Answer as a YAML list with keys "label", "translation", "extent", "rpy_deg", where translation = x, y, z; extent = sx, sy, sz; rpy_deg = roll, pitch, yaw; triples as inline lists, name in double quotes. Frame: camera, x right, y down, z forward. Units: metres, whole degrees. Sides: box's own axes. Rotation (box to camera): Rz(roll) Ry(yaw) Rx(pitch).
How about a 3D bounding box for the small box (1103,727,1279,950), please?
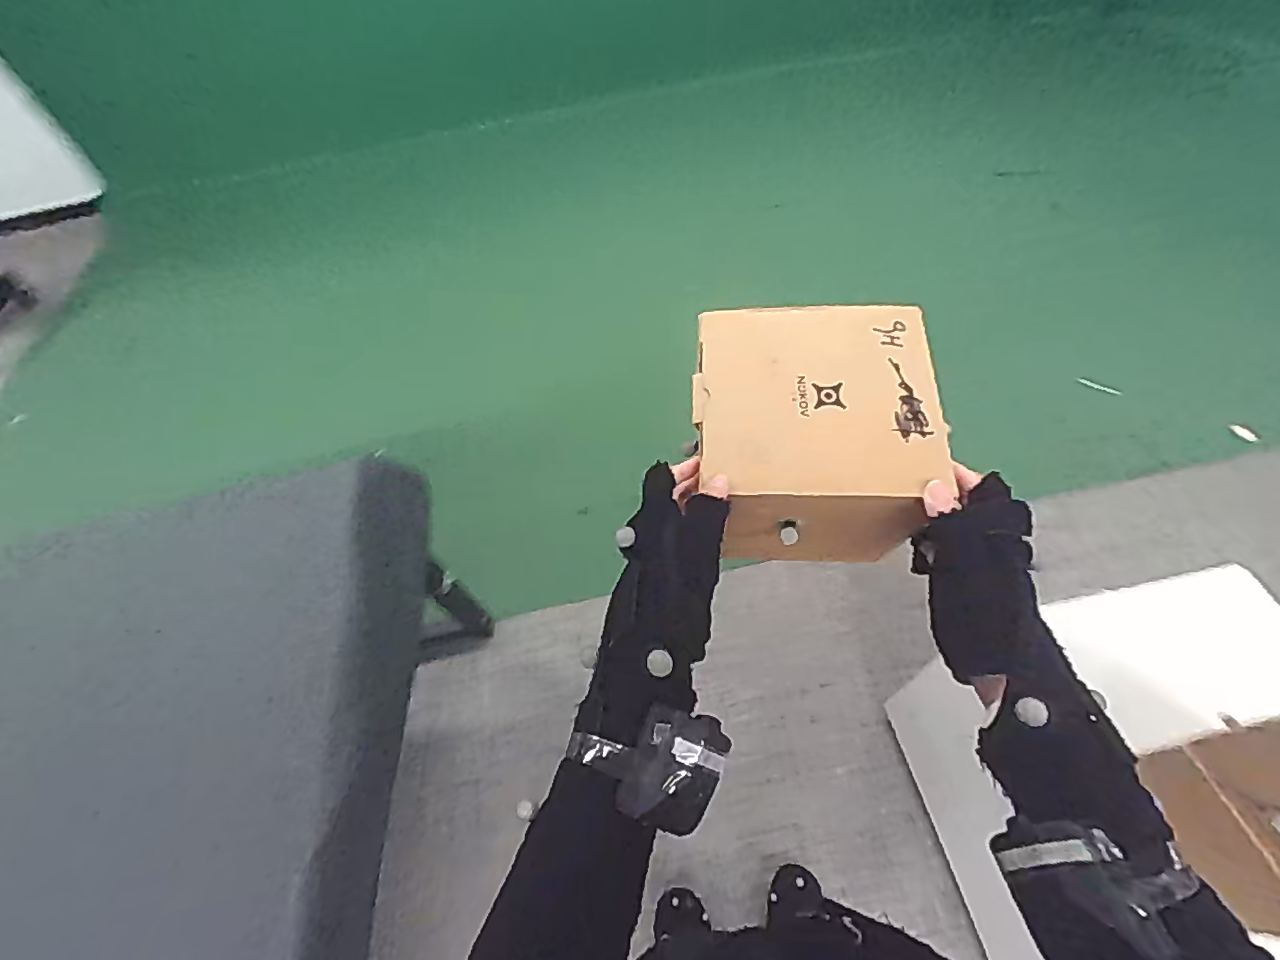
- label: "small box"
  translation: [0.652, 0.357, 0.559]
  extent: [0.179, 0.176, 0.168]
  rpy_deg: [-15, 54, 0]

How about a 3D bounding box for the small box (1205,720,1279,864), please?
- label: "small box"
  translation: [0.637, 0.261, 0.426]
  extent: [0.179, 0.176, 0.168]
  rpy_deg: [-16, 55, -4]
